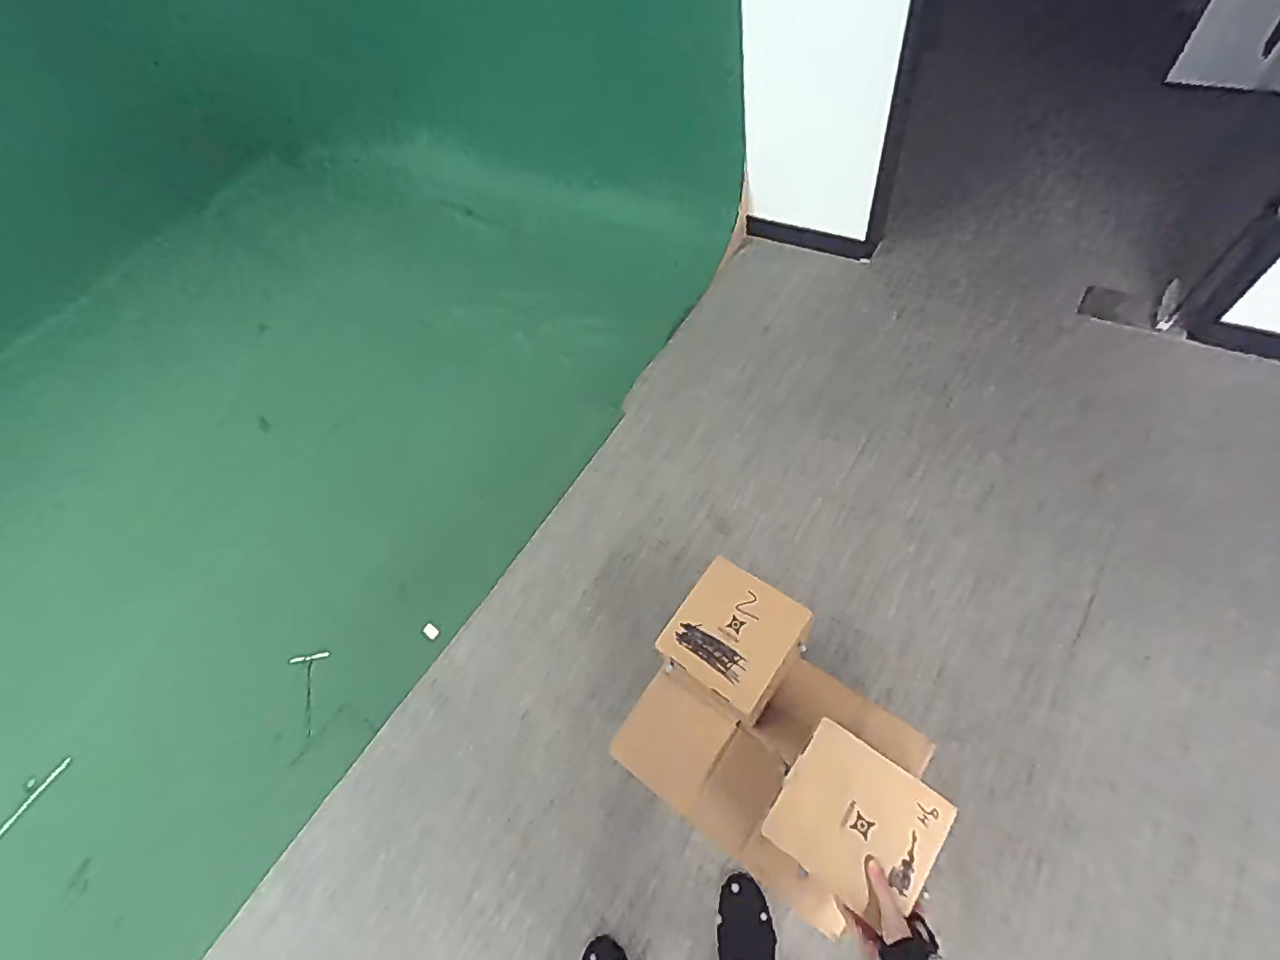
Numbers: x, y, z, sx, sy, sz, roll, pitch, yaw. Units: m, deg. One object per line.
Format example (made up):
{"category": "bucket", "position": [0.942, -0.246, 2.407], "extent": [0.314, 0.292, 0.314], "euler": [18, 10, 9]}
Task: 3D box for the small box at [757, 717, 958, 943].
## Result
{"category": "small box", "position": [0.275, 0.447, 0.715], "extent": [0.179, 0.176, 0.168], "euler": [31, 73, 27]}
